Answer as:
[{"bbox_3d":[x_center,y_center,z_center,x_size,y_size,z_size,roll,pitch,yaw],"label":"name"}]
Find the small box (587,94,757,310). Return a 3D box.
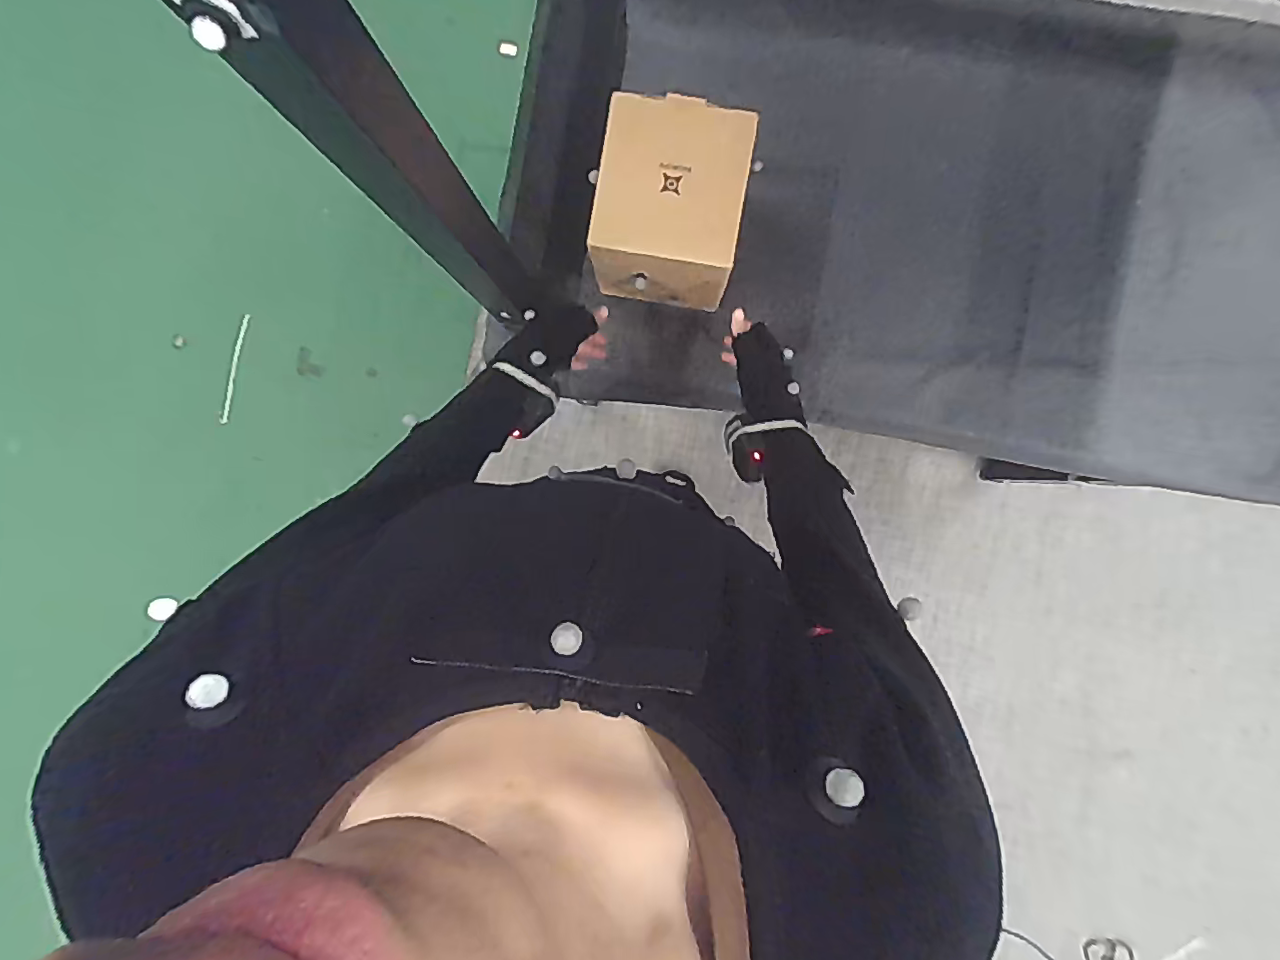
[{"bbox_3d":[0.038,-0.328,0.674,0.168,0.176,0.179,10,90,1],"label":"small box"}]
